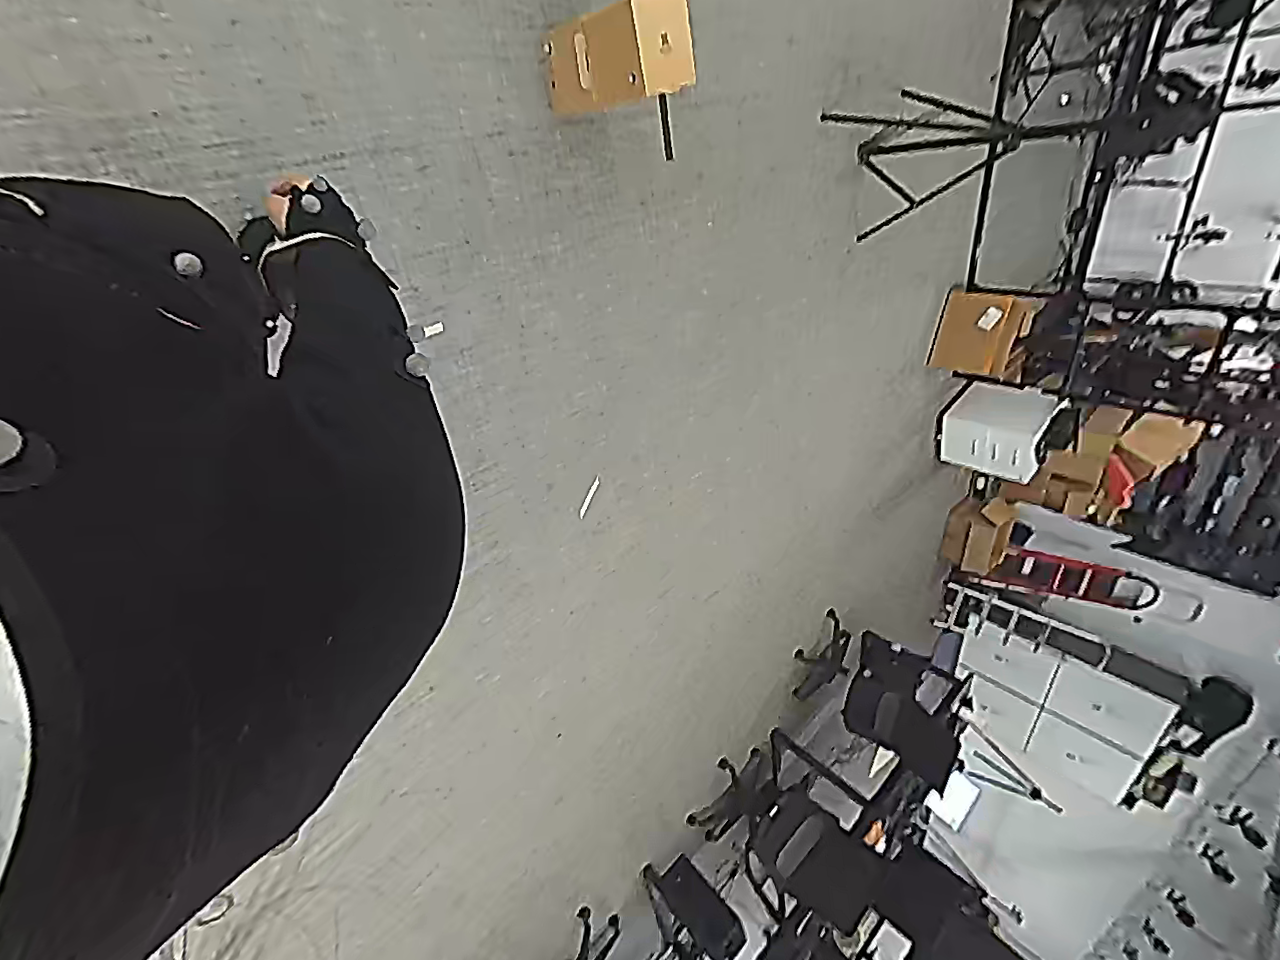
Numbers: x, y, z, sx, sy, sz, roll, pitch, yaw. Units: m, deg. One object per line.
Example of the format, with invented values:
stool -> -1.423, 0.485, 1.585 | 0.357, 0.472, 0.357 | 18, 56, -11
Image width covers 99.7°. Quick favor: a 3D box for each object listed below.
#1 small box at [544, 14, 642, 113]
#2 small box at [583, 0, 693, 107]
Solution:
small box -> -0.119, -1.017, 1.330 | 0.179, 0.176, 0.168 | -30, 127, -32
small box -> -0.006, -0.972, 1.222 | 0.168, 0.176, 0.179 | -36, 130, -27
